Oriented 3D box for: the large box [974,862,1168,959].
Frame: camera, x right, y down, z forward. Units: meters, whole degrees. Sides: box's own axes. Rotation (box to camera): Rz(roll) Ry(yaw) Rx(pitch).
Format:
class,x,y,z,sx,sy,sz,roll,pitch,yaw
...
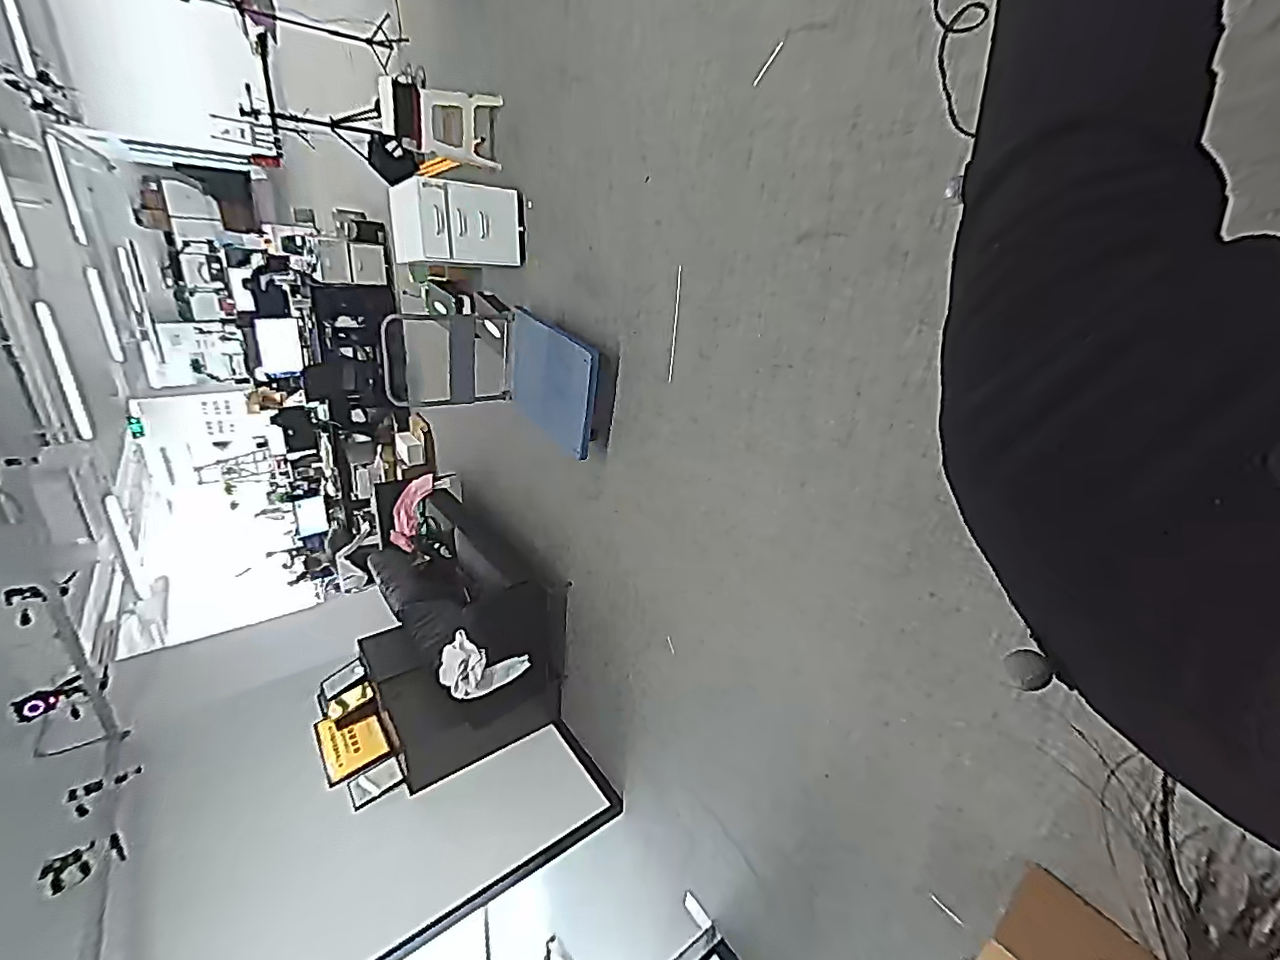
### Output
class,x,y,z,sx,sy,sz,roll,pitch,yaw
large box,1.095,1.294,1.343,0.408,0.320,0.320,31,125,44
